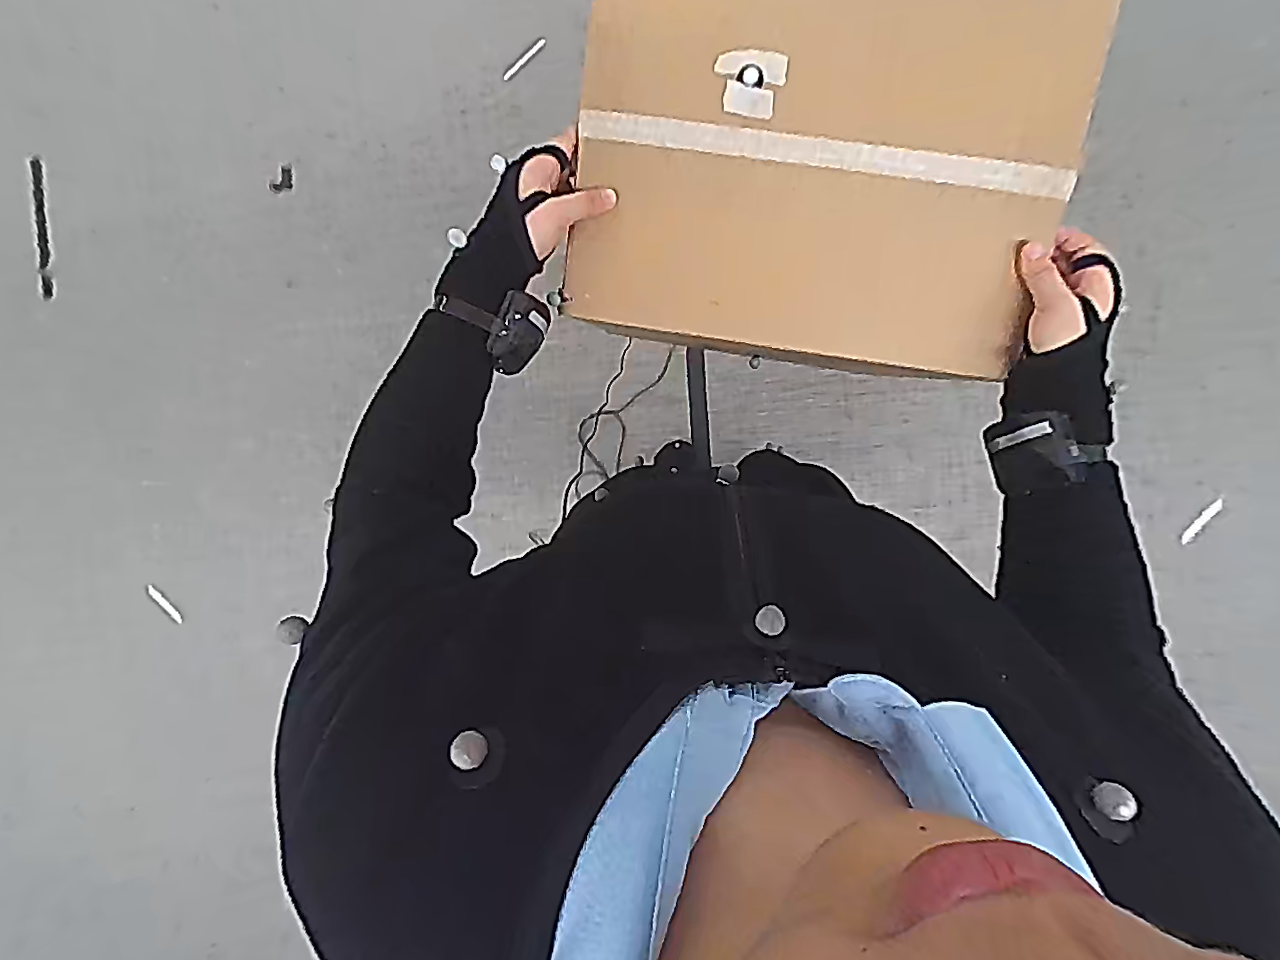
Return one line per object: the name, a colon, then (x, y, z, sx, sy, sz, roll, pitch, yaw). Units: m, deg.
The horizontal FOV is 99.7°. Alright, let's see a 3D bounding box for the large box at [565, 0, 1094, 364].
large box: (0.158, -0.306, 0.603, 0.408, 0.320, 0.320, 8, 101, 4)
